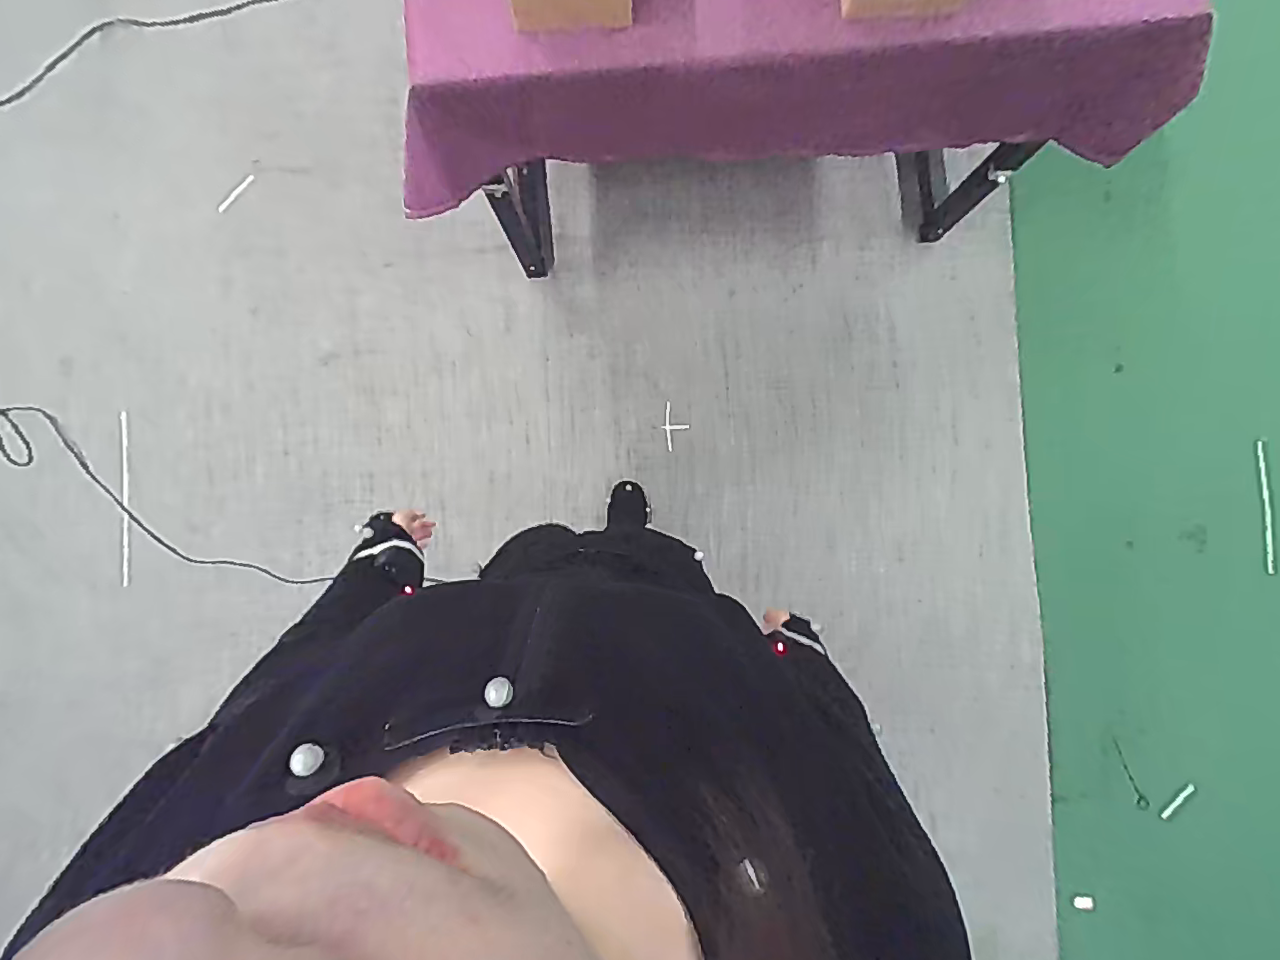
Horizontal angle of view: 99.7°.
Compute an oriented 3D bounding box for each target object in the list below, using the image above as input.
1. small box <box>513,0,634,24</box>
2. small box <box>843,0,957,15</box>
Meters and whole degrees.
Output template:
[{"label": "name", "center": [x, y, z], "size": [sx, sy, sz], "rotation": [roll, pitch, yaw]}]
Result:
[{"label": "small box", "center": [-0.098, -0.758, 0.725], "size": [0.179, 0.176, 0.168], "rotation": [-1, 88, 0]}, {"label": "small box", "center": [0.388, -0.774, 0.725], "size": [0.179, 0.176, 0.168], "rotation": [-2, 87, 1]}]
